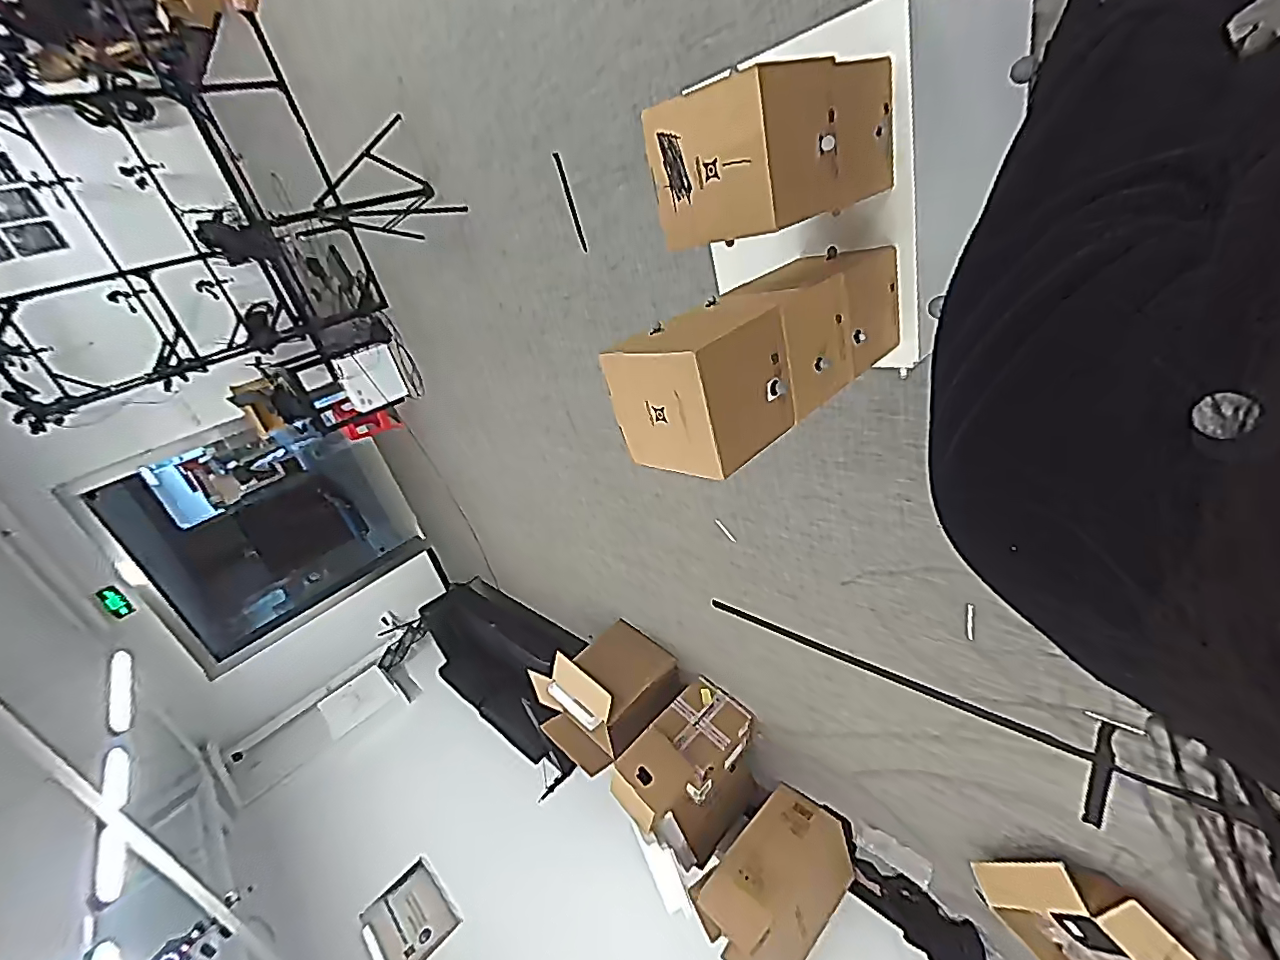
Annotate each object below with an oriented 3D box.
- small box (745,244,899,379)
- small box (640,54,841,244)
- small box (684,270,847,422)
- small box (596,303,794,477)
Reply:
[{"bbox_3d":[0.303,-0.278,0.893,0.179,0.176,0.168,15,130,47],"label":"small box"},{"bbox_3d":[0.132,-0.412,0.687,0.179,0.176,0.168,15,131,44],"label":"small box"},{"bbox_3d":[0.191,-0.201,0.804,0.179,0.176,0.168,13,129,47],"label":"small box"},{"bbox_3d":[0.076,-0.125,0.717,0.179,0.176,0.168,12,129,47],"label":"small box"}]
